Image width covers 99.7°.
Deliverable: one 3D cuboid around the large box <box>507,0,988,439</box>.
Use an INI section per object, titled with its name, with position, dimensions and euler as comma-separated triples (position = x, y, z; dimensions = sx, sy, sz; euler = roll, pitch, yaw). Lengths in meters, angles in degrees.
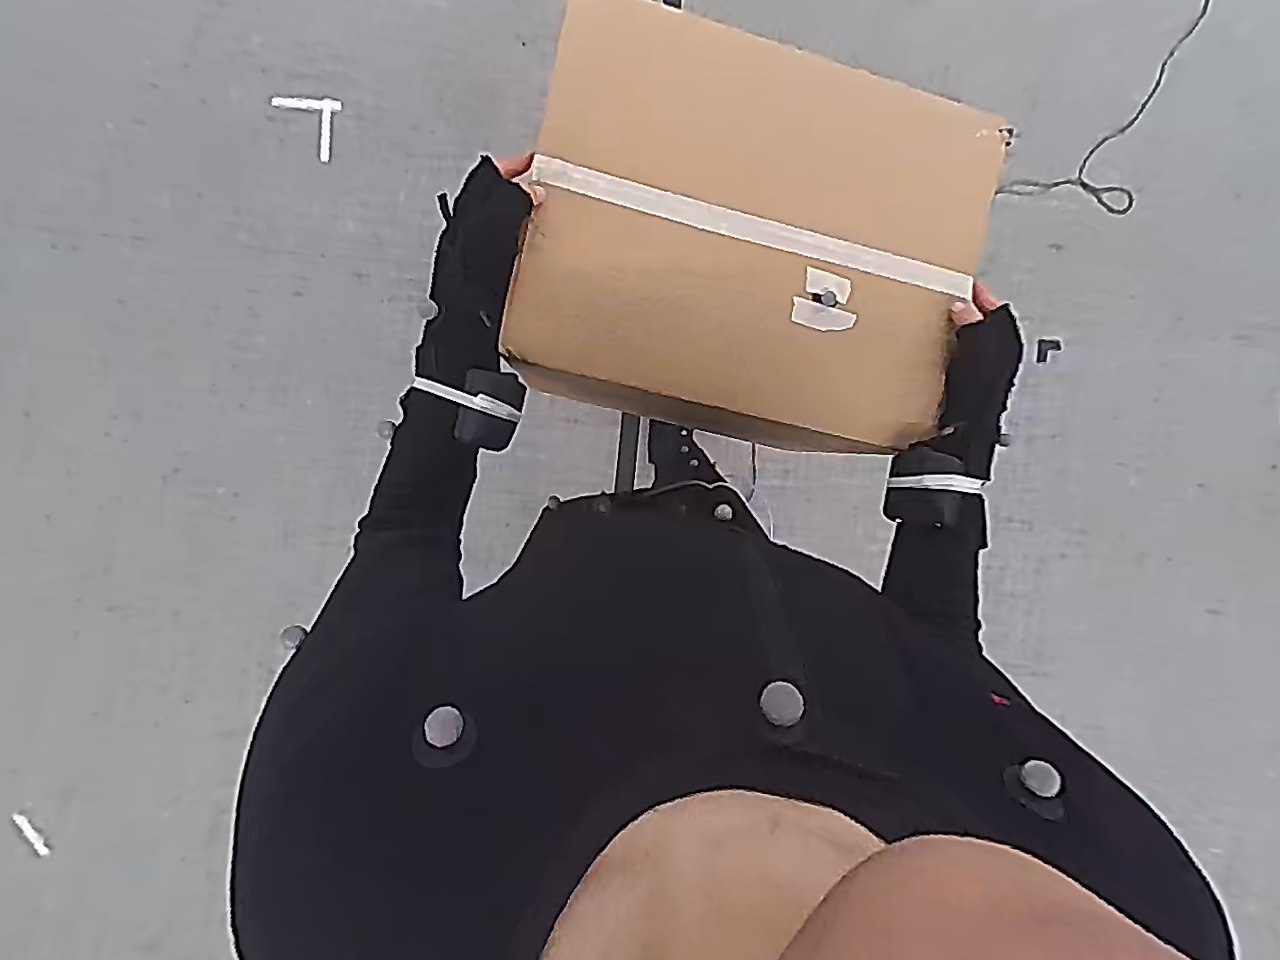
[large box]
position = 0.084, -0.237, 0.632
dimensions = 0.408, 0.320, 0.320
euler = 12, 94, -8
